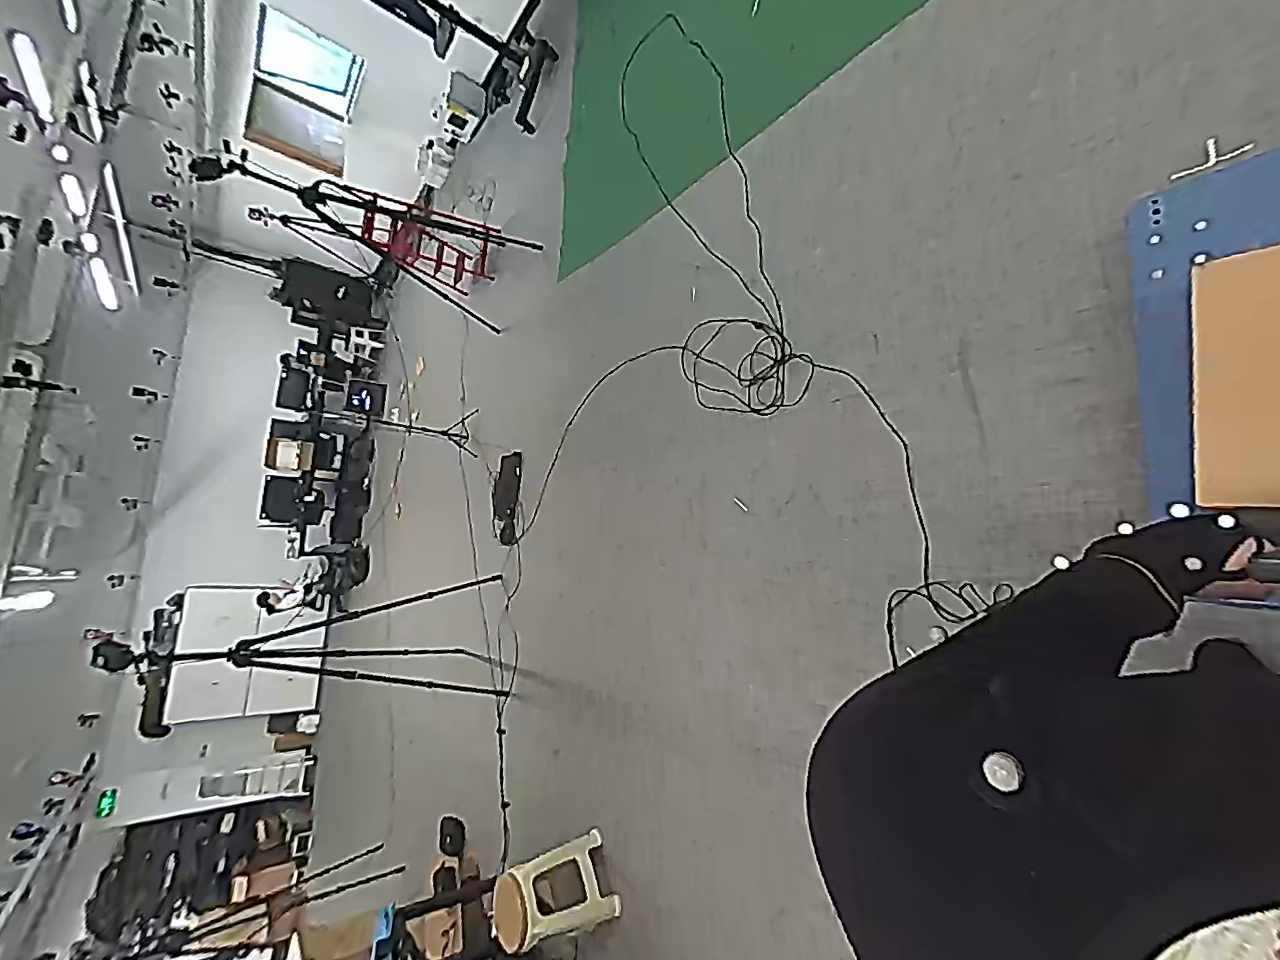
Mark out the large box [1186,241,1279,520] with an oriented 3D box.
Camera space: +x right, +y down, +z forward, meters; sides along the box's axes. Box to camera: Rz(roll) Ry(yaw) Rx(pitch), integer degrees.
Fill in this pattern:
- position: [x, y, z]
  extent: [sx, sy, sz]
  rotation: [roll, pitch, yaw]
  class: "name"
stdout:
- position: [1.110, -0.148, 0.851]
  extent: [0.320, 0.320, 0.408]
  rotation: [-2, 80, 51]
  class: "large box"
